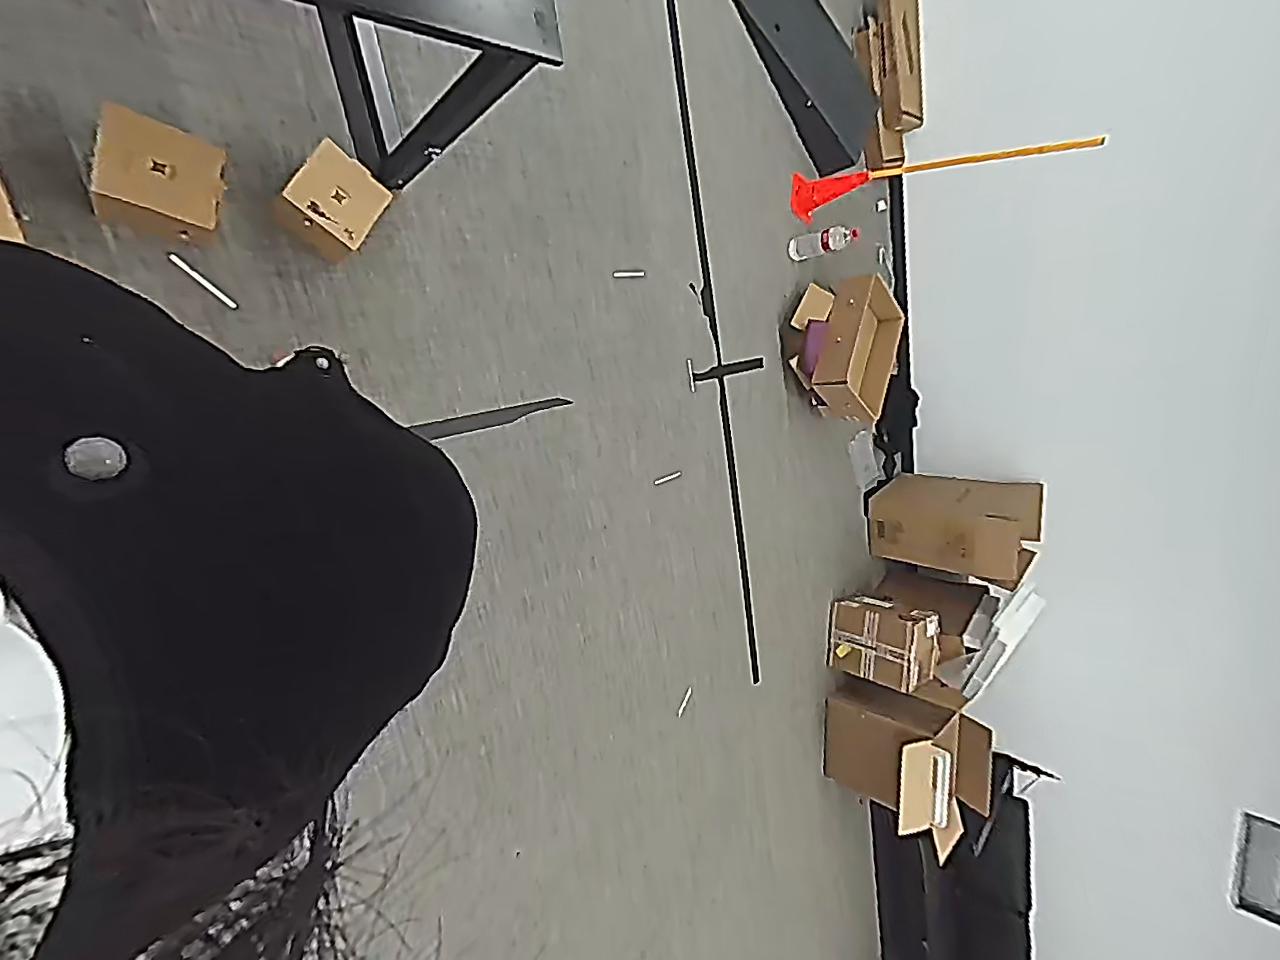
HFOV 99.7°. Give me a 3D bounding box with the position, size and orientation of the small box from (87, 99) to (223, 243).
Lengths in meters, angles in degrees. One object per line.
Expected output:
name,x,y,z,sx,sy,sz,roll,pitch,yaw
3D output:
small box,-0.944,-0.586,1.058,0.179,0.176,0.168,7,89,-42

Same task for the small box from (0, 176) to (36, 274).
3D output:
small box,-1.144,-0.443,0.883,0.168,0.176,0.179,-22,110,-40

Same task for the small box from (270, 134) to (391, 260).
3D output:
small box,-0.723,-0.646,1.256,0.168,0.176,0.179,37,70,-39
